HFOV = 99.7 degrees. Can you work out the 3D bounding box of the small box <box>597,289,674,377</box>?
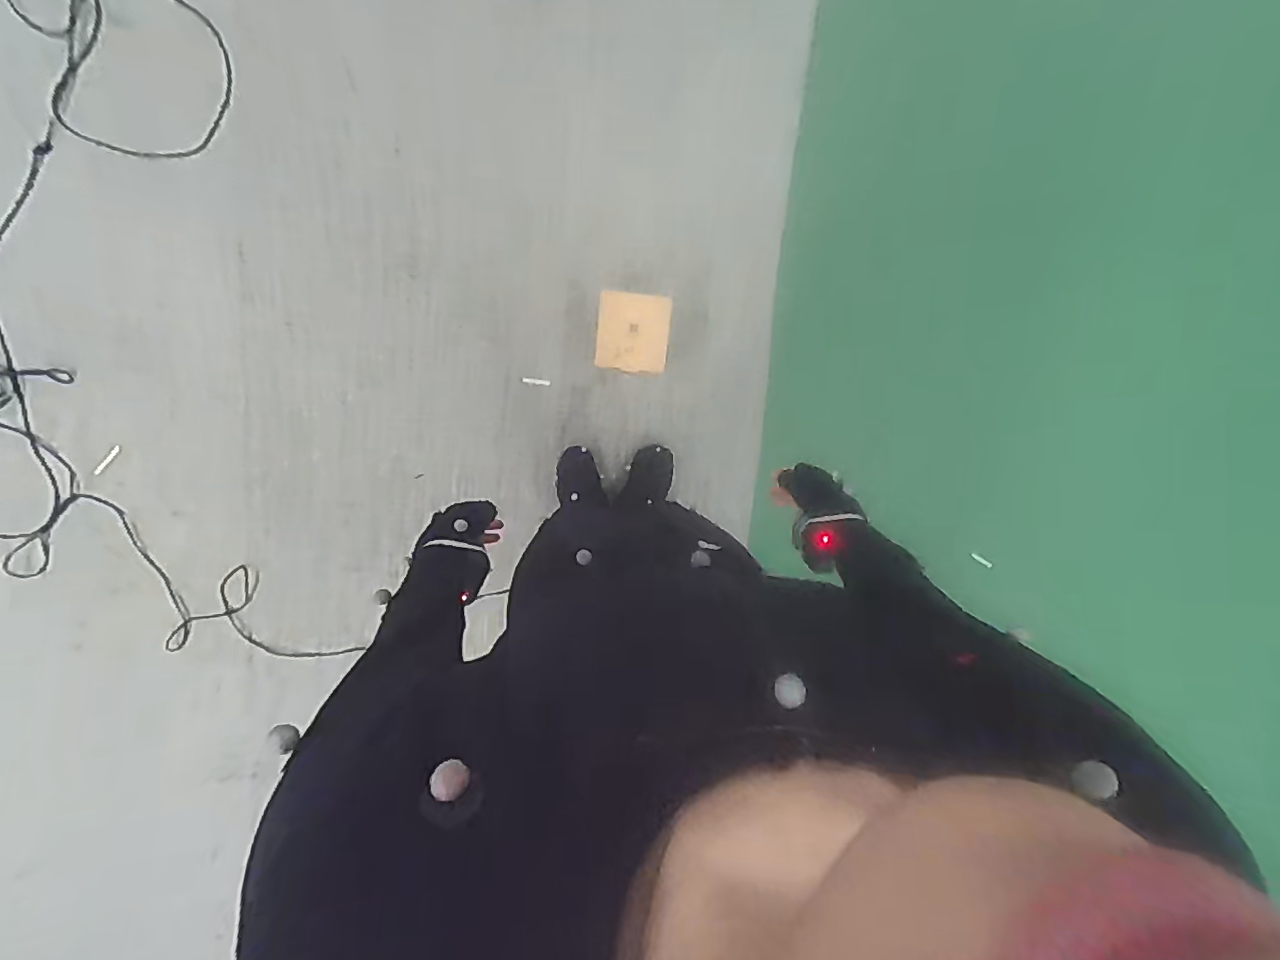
[{"bbox_3d":[-0.016,-0.355,1.335,0.168,0.176,0.179,6,98,-4],"label":"small box"}]
